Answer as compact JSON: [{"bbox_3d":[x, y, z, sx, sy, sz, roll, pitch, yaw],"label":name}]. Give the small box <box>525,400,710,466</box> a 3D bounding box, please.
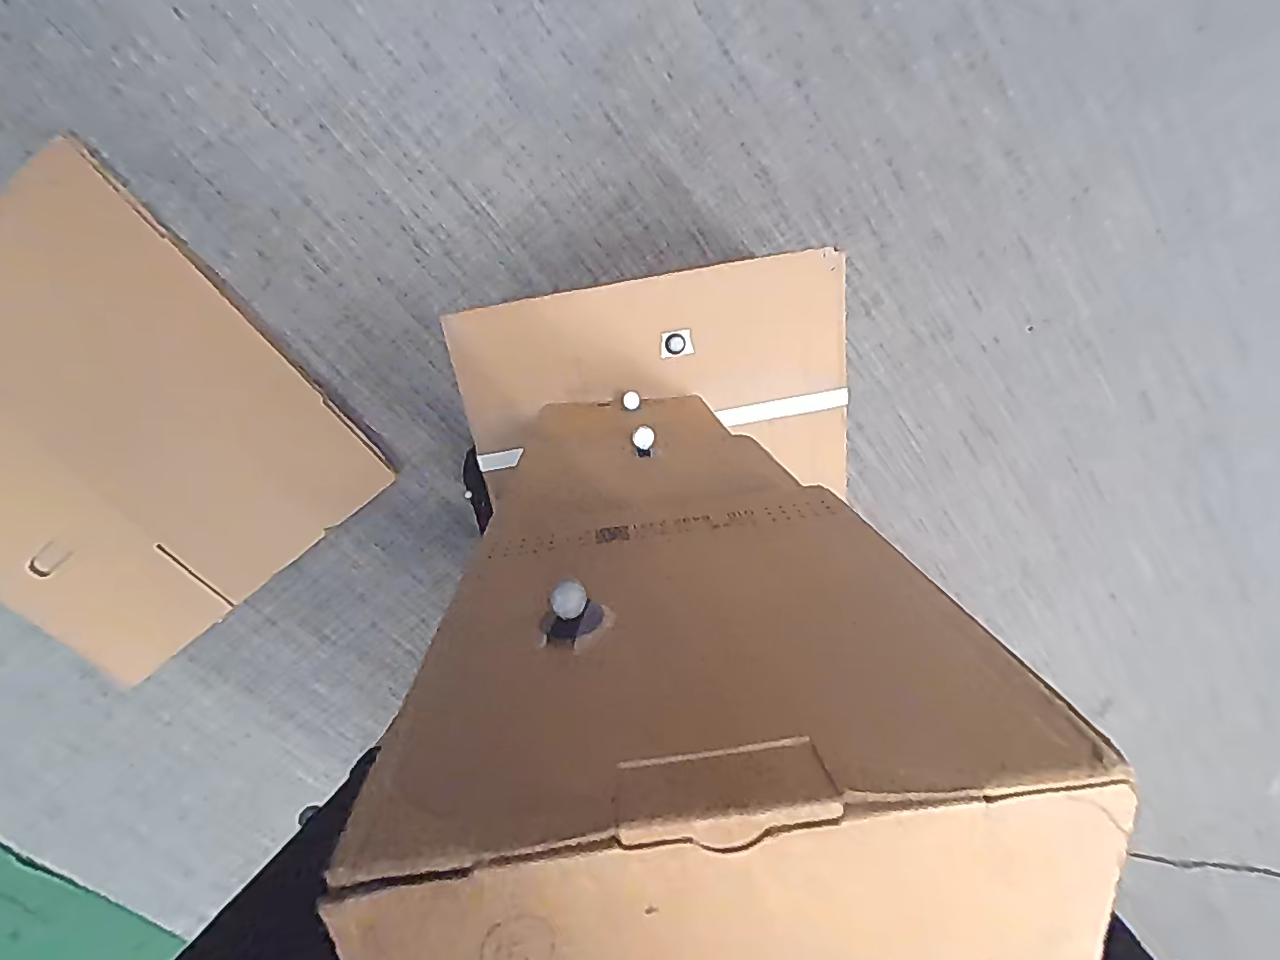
[{"bbox_3d":[-0.011,0.027,0.529,0.168,0.176,0.179,-4,109,-3],"label":"small box"}]
